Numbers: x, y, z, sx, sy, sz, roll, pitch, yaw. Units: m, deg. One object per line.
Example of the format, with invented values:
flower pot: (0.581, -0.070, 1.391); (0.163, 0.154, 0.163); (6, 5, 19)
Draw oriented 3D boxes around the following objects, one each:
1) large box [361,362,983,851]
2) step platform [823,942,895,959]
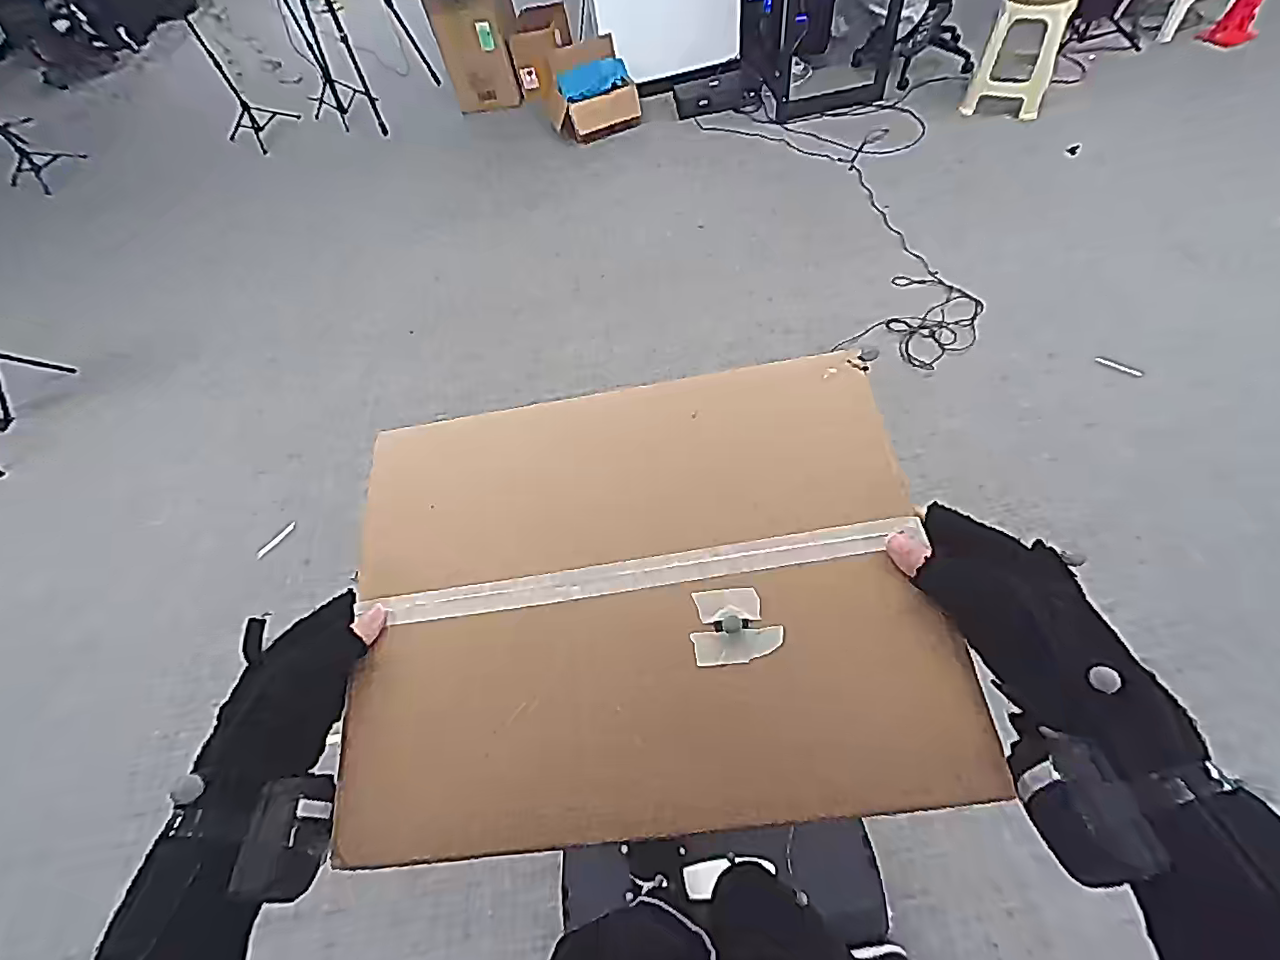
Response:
large box: (0.014, 0.132, 0.533); (0.408, 0.320, 0.320); (-9, 65, 5)
step platform: (0.182, 1.076, 0.971); (0.684, 0.204, 0.286); (-13, 55, 3)
